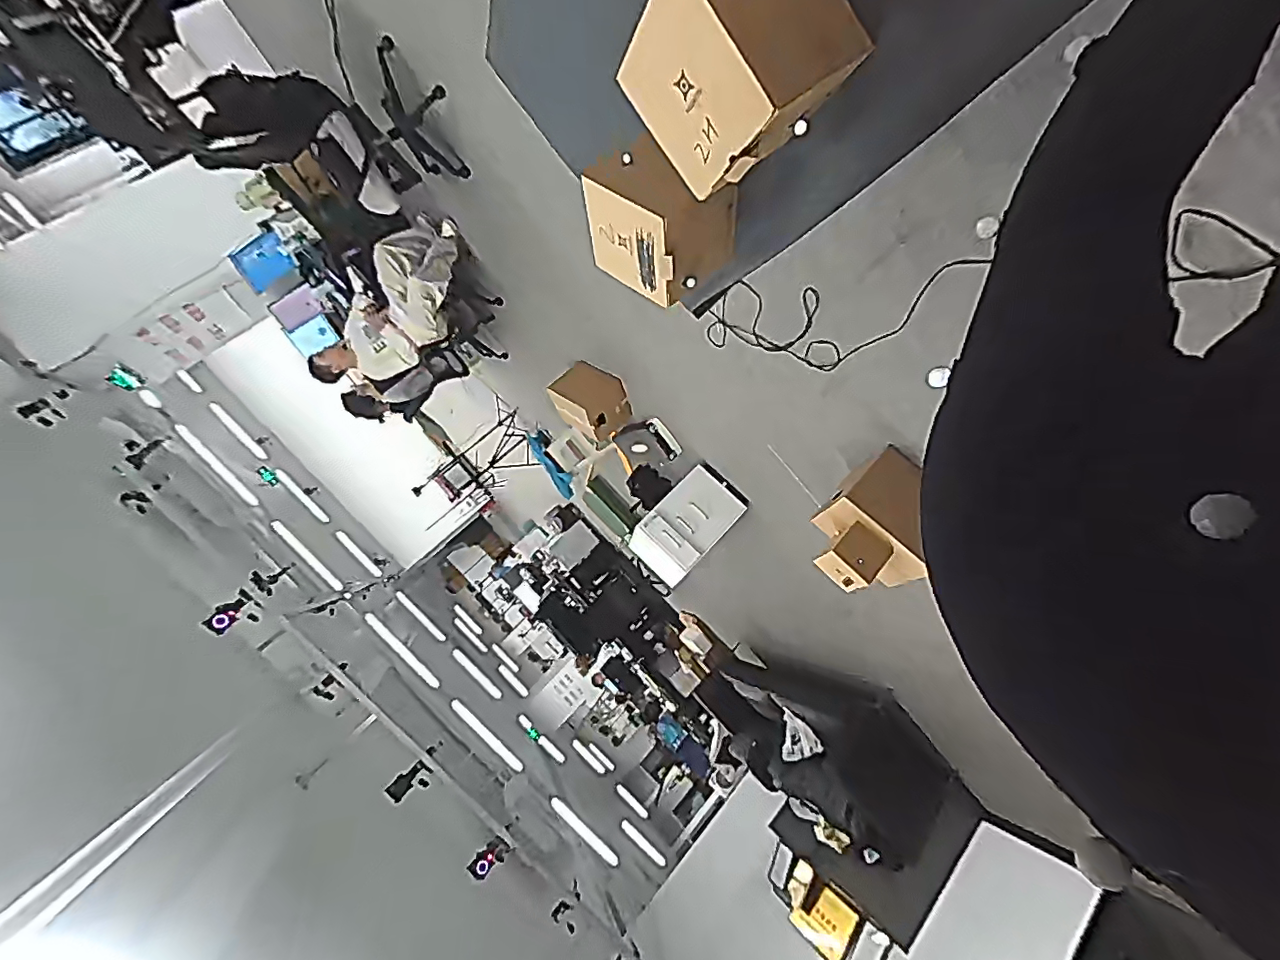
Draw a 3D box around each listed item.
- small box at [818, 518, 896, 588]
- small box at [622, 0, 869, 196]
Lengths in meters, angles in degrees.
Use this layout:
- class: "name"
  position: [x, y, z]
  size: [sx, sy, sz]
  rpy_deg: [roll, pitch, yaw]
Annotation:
- class: "small box"
  position: [0.810, 0.271, 2.013]
  size: [0.179, 0.176, 0.168]
  rpy_deg: [43, 160, 10]
- class: "small box"
  position: [0.115, -0.477, 0.614]
  size: [0.179, 0.176, 0.168]
  rpy_deg: [51, 162, -10]
